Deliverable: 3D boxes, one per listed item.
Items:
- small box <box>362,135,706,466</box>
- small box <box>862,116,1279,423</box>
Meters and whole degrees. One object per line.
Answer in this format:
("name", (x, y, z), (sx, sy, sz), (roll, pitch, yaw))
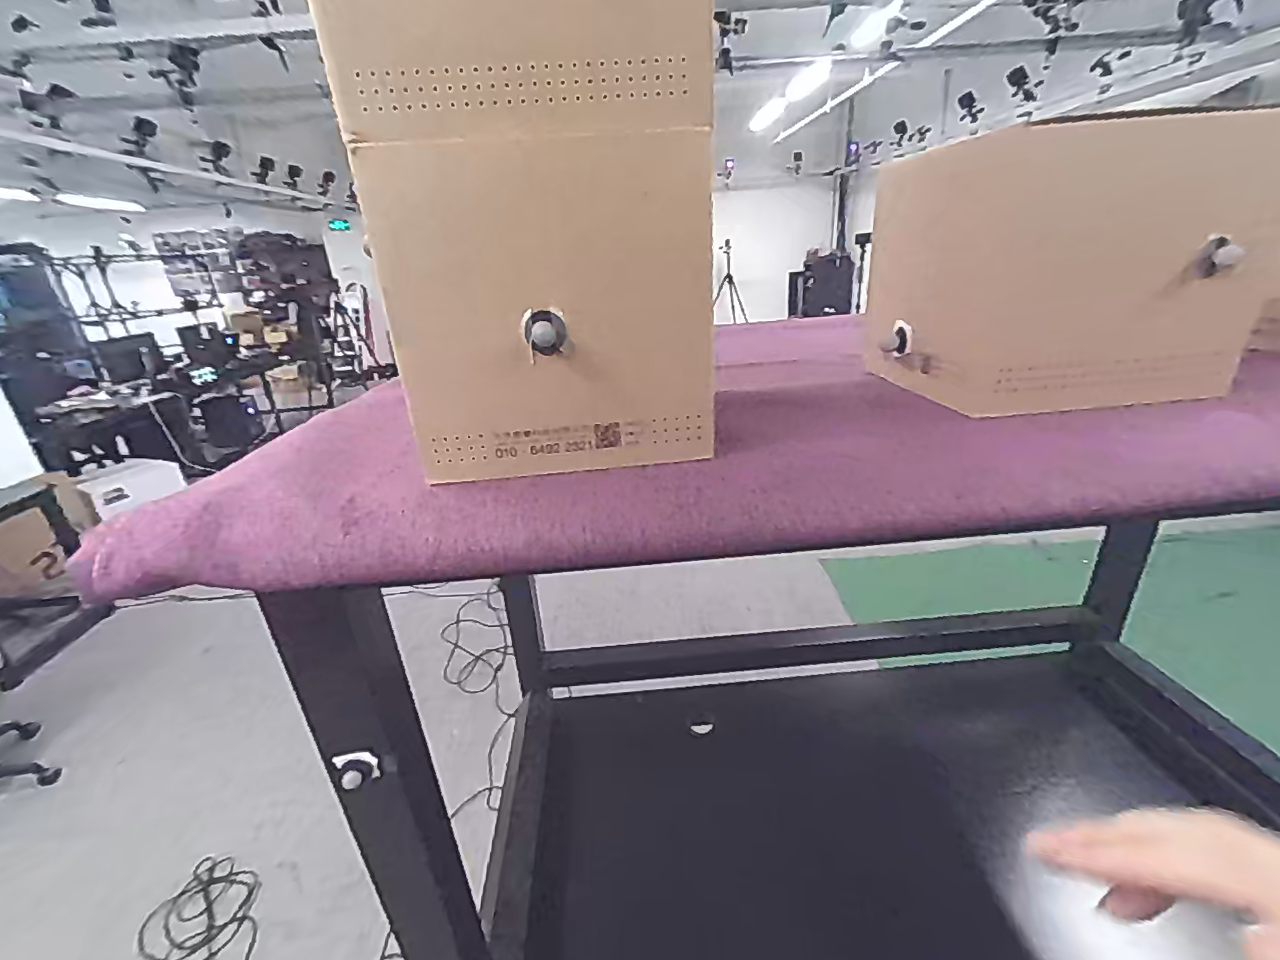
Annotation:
("small box", (-0.051, -0.112, 0.360), (0.168, 0.176, 0.179), (-4, 23, -4))
("small box", (0.287, -0.149, 0.402), (0.179, 0.176, 0.168), (-6, 22, -3))
